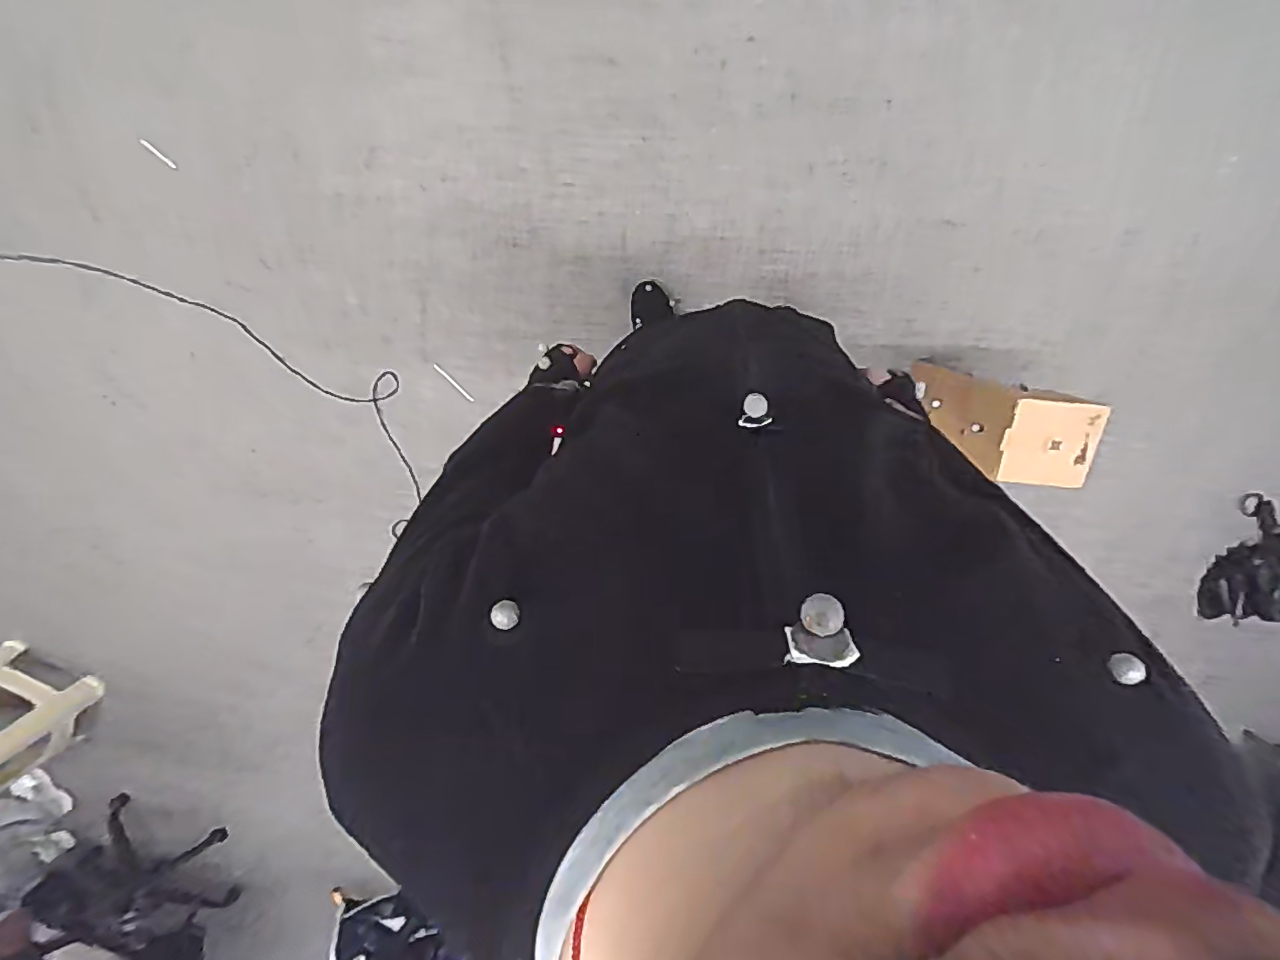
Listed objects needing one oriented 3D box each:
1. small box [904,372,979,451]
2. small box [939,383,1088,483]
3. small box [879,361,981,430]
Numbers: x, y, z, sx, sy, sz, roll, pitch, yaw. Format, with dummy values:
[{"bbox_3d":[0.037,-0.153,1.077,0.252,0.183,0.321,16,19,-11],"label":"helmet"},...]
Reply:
[{"bbox_3d":[0.775,-0.152,1.295,0.179,0.176,0.168,15,110,-4],"label":"small box"},{"bbox_3d":[0.770,-0.106,1.139,0.179,0.176,0.168,6,110,-1],"label":"small box"},{"bbox_3d":[0.779,-0.212,1.448,0.179,0.176,0.168,13,110,-3],"label":"small box"}]
